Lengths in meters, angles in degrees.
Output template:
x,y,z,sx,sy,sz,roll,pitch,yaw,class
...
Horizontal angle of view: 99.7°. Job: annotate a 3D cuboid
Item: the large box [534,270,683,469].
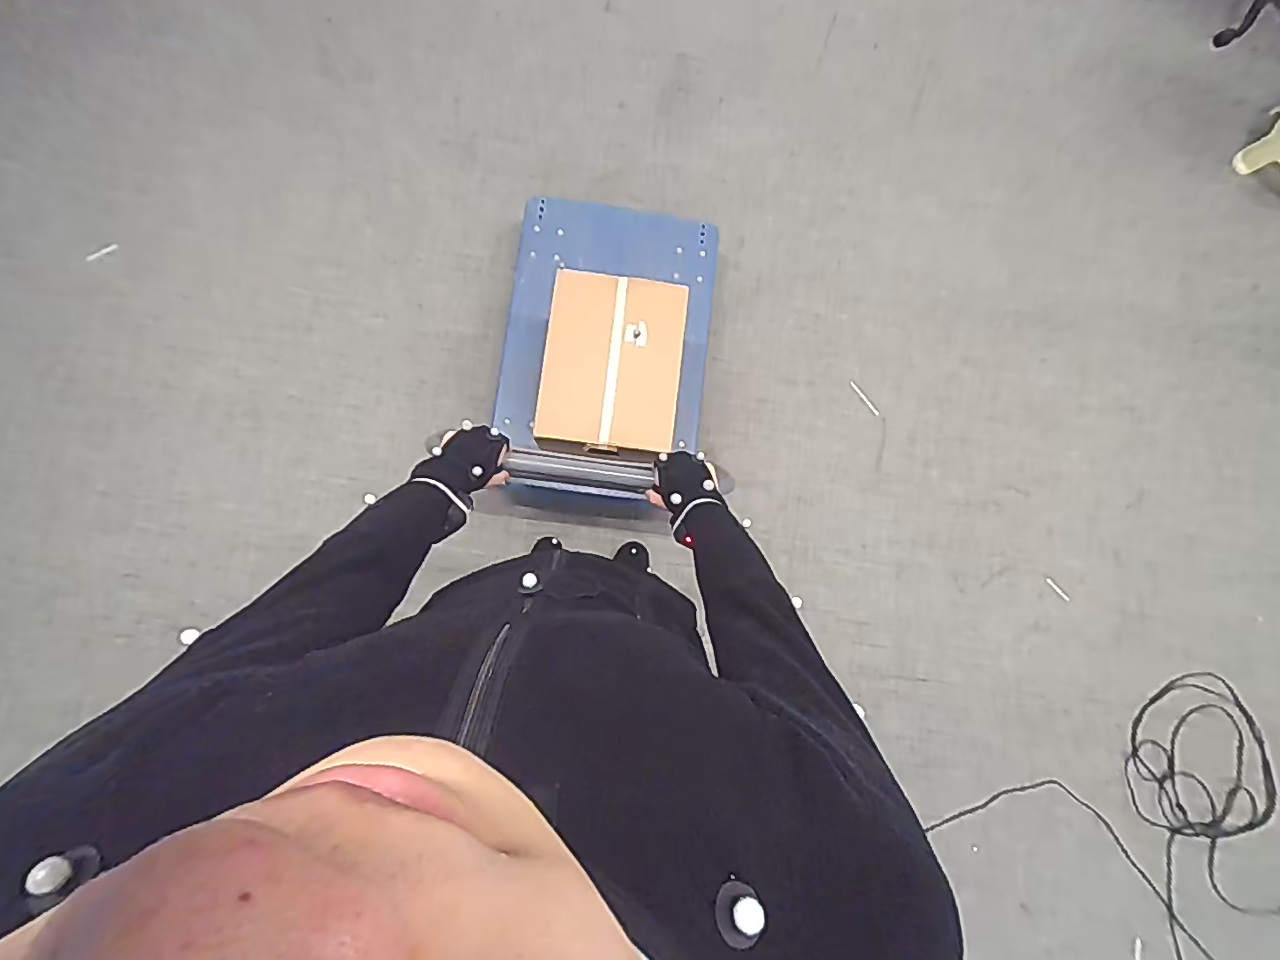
x,y,z,sx,sy,sz,roll,pitch,yaw,class
-0.079,-0.258,1.381,0.320,0.320,0.408,7,82,-5,large box
